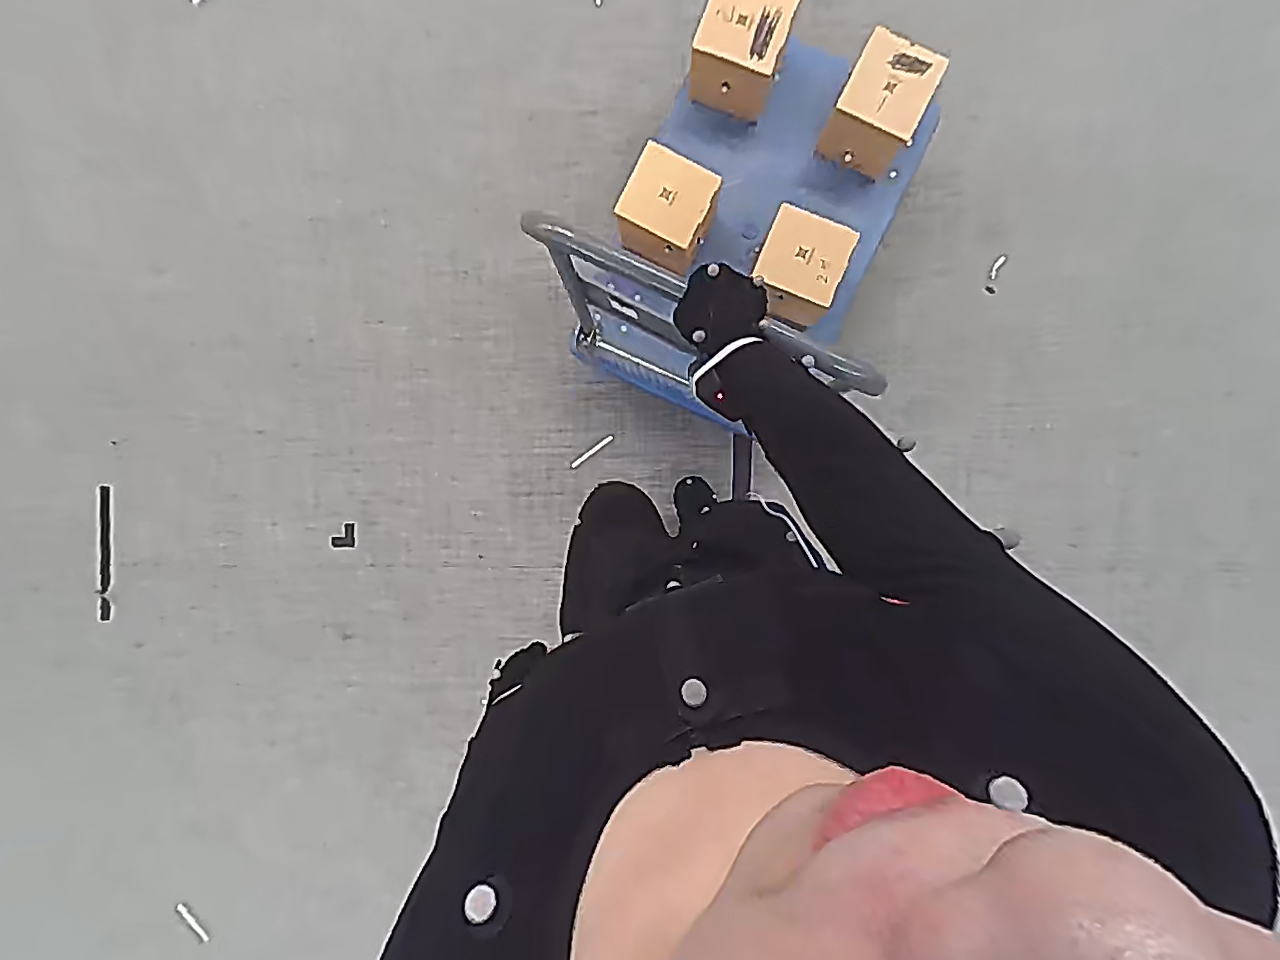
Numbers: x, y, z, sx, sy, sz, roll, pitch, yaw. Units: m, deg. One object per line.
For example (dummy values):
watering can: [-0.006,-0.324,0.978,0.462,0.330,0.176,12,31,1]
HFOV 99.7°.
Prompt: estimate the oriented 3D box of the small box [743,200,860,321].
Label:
small box: [0.342,-0.469,1.187,0.179,0.176,0.168,23,94,1]

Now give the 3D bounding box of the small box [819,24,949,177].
small box: [0.510,-0.802,1.161,0.168,0.176,0.179,27,95,1]

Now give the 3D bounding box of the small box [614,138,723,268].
small box: [0.060,-0.599,1.194,0.179,0.176,0.168,28,94,-1]
